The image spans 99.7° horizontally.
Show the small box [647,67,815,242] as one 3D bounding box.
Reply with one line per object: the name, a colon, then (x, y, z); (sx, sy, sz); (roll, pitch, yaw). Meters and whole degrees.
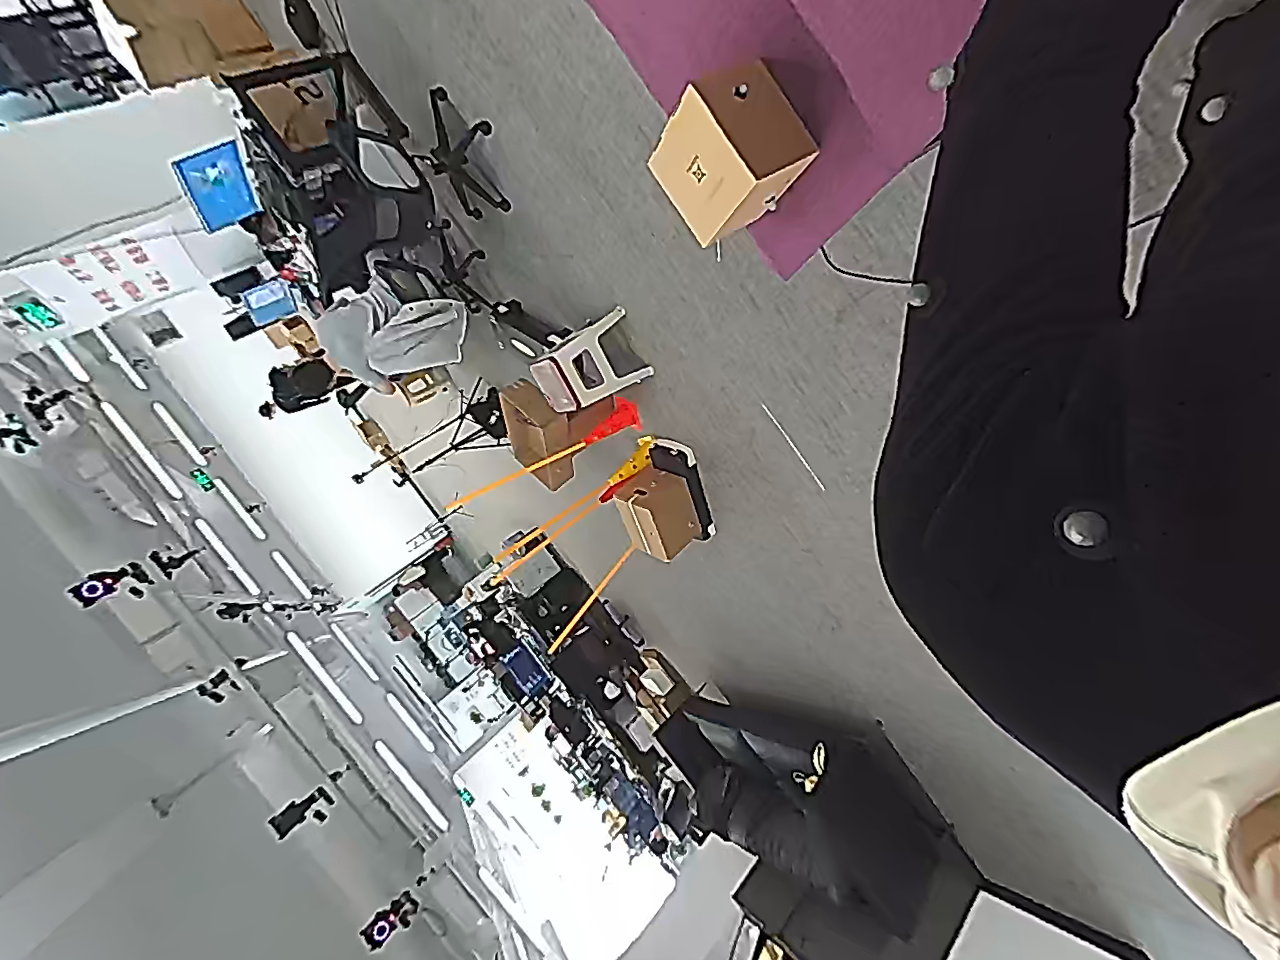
small box: (0.149, -0.540, 0.896); (0.179, 0.176, 0.168); (54, 155, -4)
